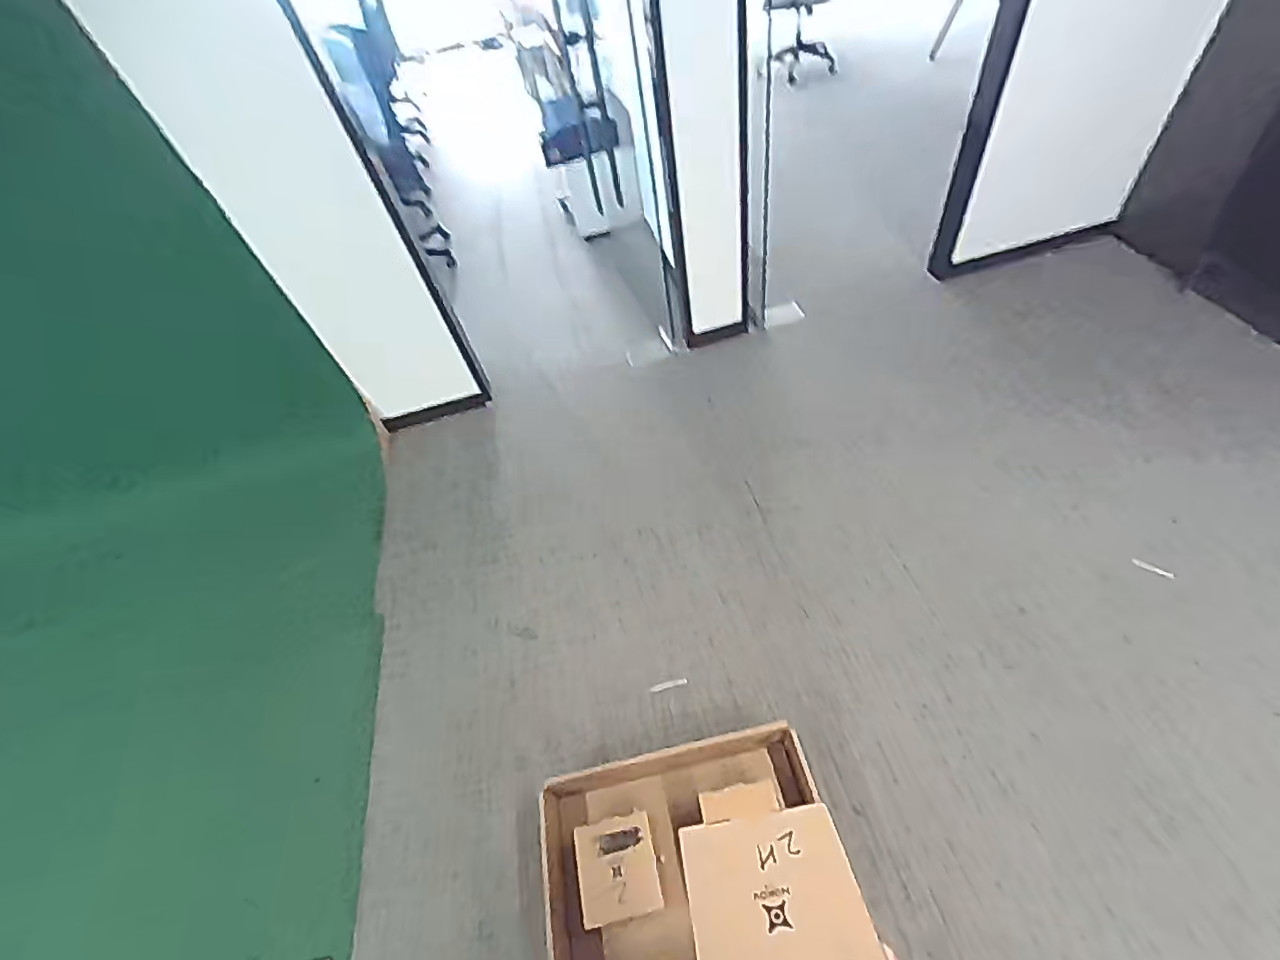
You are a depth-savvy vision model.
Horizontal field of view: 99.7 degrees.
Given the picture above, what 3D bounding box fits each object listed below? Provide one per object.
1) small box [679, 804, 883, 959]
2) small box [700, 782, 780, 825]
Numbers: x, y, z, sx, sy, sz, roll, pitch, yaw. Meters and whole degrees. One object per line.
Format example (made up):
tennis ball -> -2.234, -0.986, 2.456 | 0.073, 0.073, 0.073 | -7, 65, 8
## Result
small box -> 0.142, 0.475, 0.551 | 0.168, 0.176, 0.179 | -10, 29, 0
small box -> 0.236, 0.790, 1.189 | 0.168, 0.176, 0.179 | -13, 50, 1
